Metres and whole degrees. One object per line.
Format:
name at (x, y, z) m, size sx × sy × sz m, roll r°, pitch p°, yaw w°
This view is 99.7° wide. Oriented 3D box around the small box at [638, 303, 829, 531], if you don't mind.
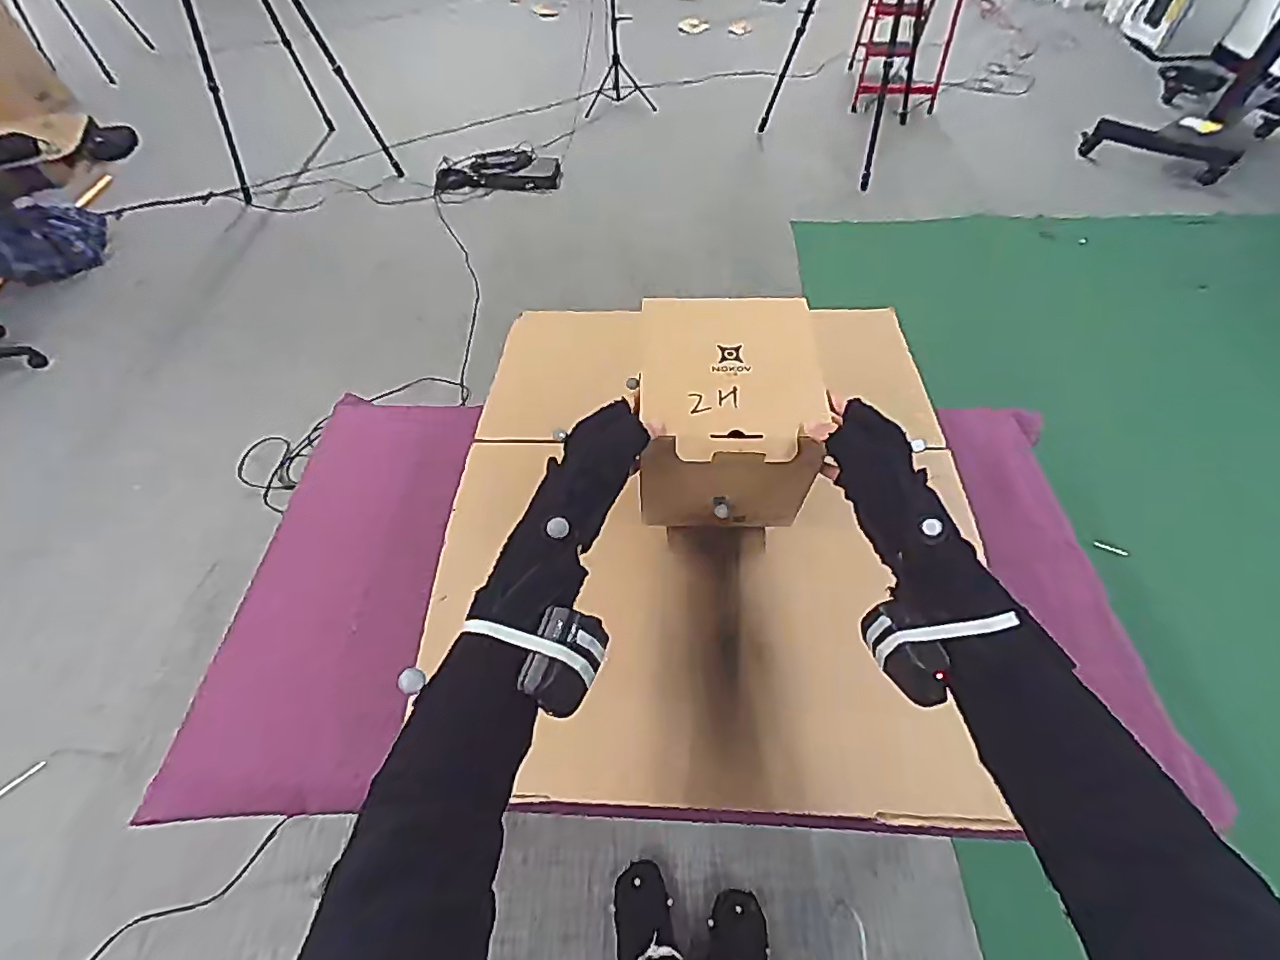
small box at (0.083, -0.062, 0.570) m, size 0.168 × 0.176 × 0.179 m, roll 0°, pitch 59°, yaw 2°
